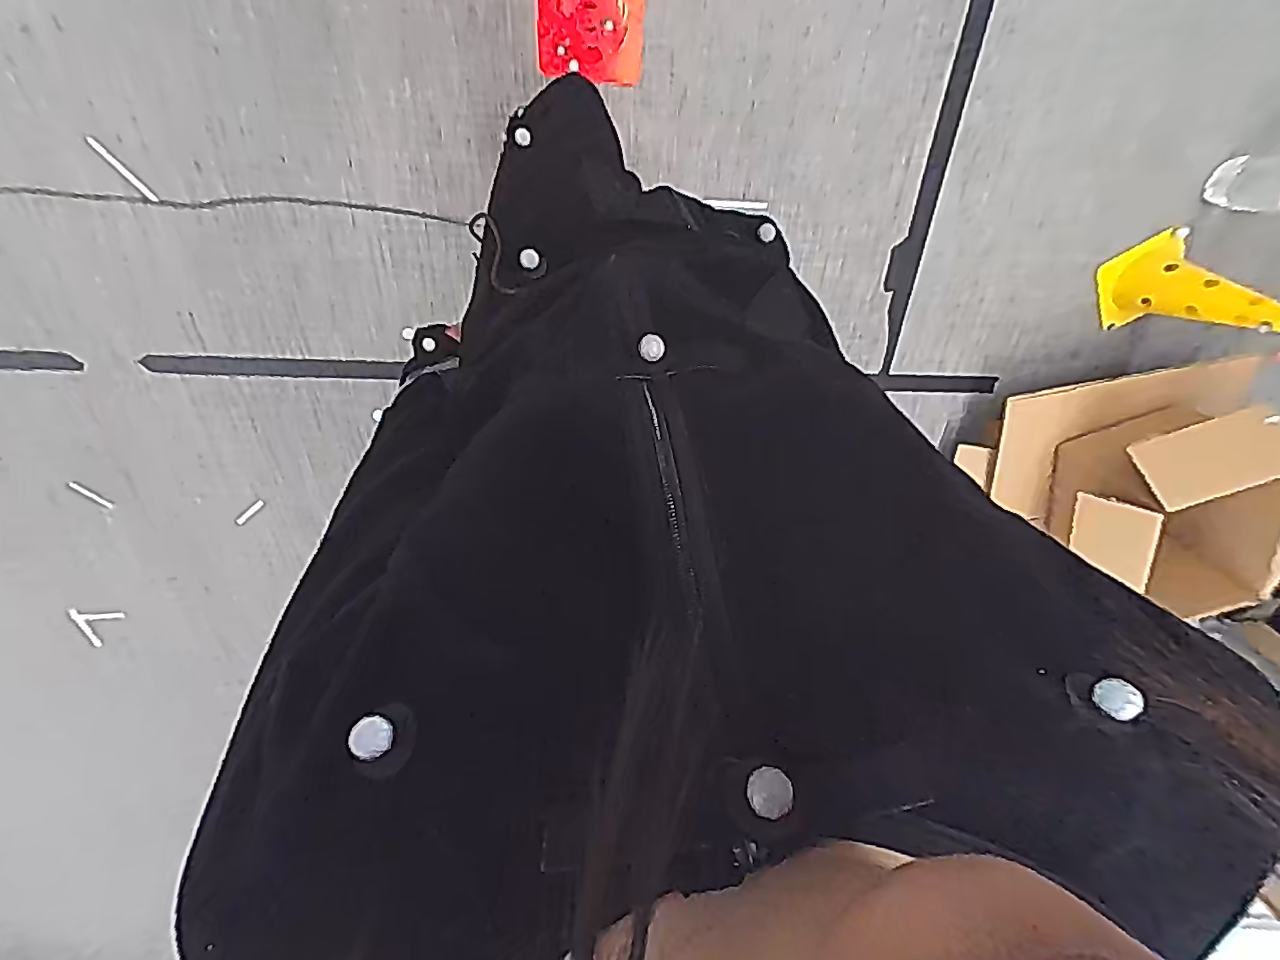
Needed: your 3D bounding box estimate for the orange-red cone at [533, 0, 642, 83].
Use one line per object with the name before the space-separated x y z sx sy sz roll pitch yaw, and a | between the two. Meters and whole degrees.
orange-red cone | -0.083 -0.773 0.858 0.199 0.360 0.198 3 123 -8
